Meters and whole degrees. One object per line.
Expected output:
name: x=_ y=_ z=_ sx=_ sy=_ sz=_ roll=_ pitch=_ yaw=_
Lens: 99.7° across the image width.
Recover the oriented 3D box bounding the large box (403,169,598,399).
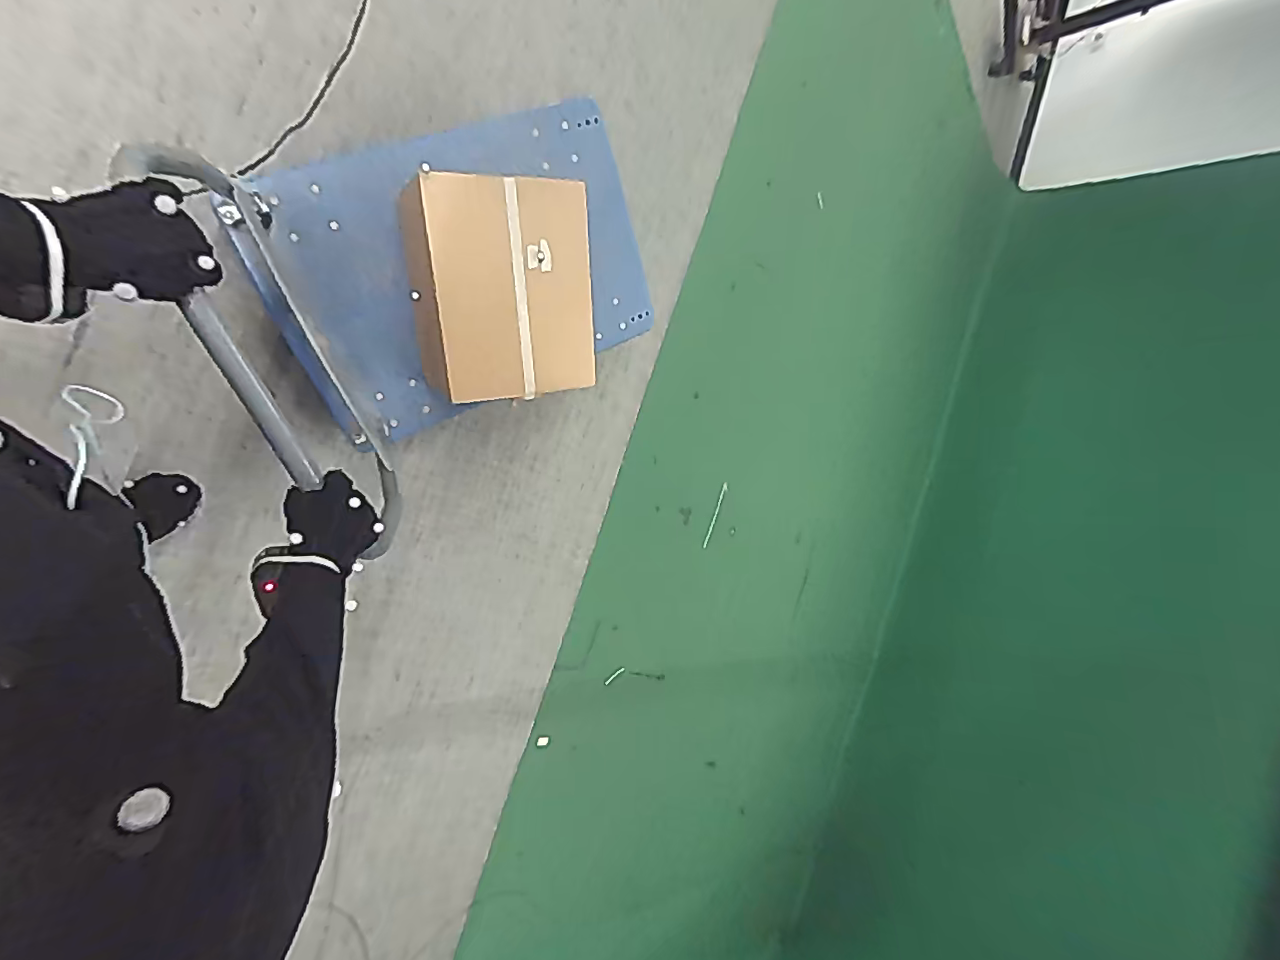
large box: x=-0.304 y=-0.413 z=1.175 sx=0.320 sy=0.320 sz=0.408 roll=-12 pitch=112 yaw=-27
